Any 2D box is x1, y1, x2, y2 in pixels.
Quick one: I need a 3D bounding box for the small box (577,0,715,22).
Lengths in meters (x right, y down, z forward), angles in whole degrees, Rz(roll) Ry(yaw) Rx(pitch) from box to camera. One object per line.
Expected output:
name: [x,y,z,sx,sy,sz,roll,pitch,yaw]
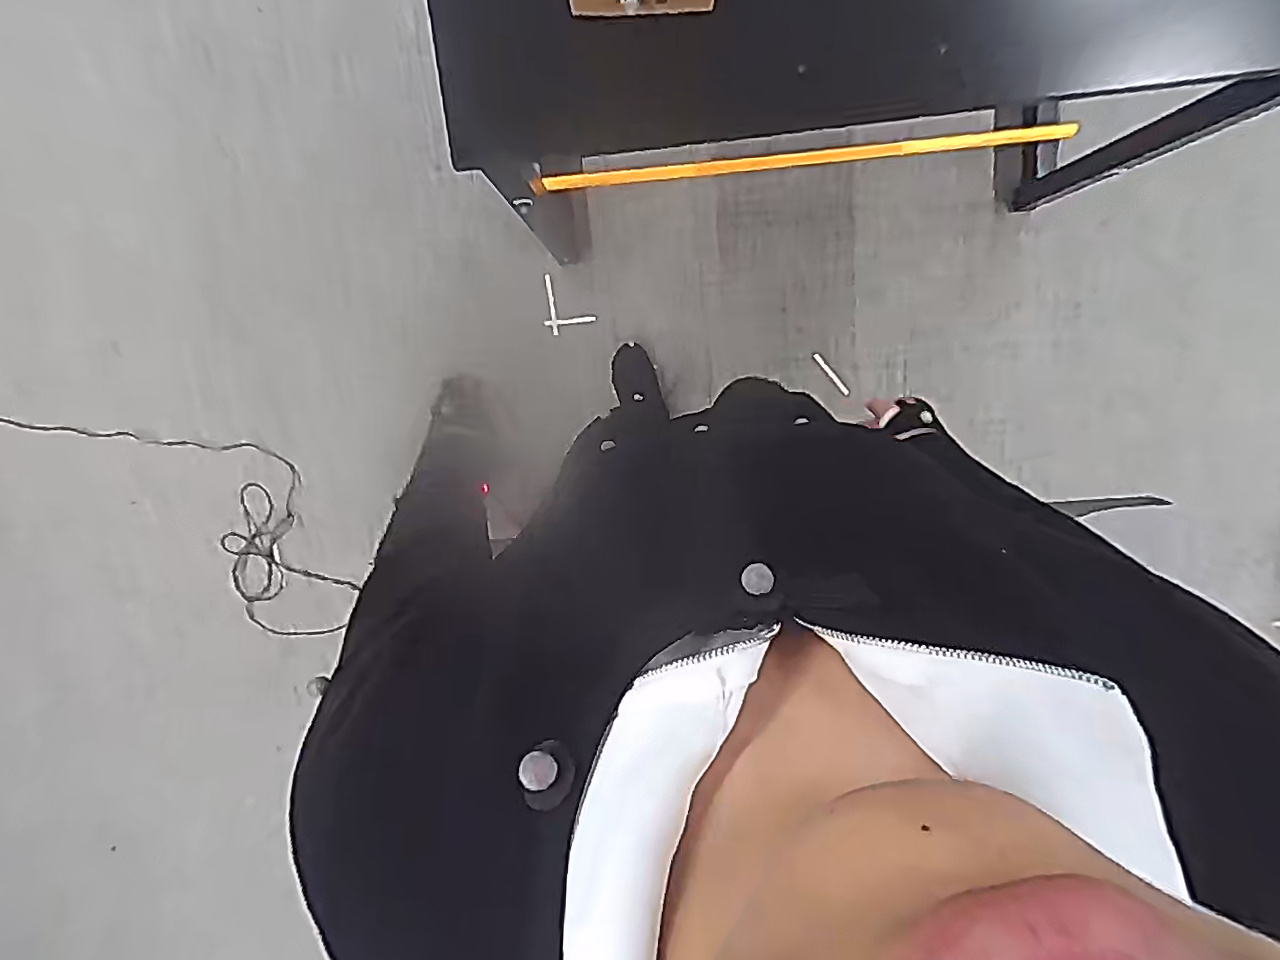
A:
small box: [0.002,-0.610,0.538,0.168,0.176,0.179,-3,102,2]
